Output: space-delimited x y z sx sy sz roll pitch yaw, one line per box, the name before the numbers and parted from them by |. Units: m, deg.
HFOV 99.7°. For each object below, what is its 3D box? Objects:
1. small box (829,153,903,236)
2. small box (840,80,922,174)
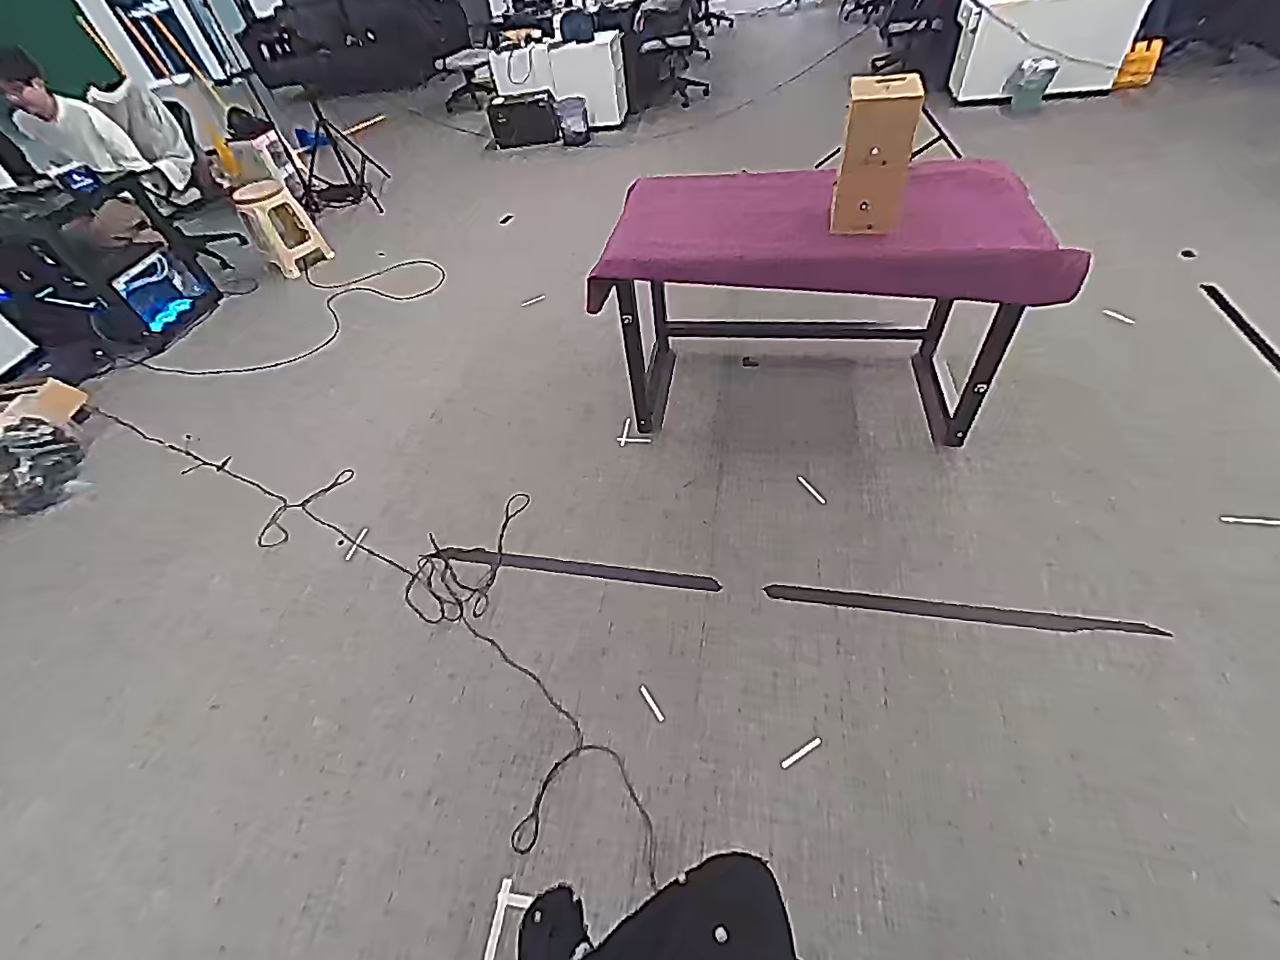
small box | 0.637 -0.813 1.539 0.168 0.176 0.179 7 50 13
small box | 0.623 -0.923 1.418 0.168 0.176 0.179 6 51 14
